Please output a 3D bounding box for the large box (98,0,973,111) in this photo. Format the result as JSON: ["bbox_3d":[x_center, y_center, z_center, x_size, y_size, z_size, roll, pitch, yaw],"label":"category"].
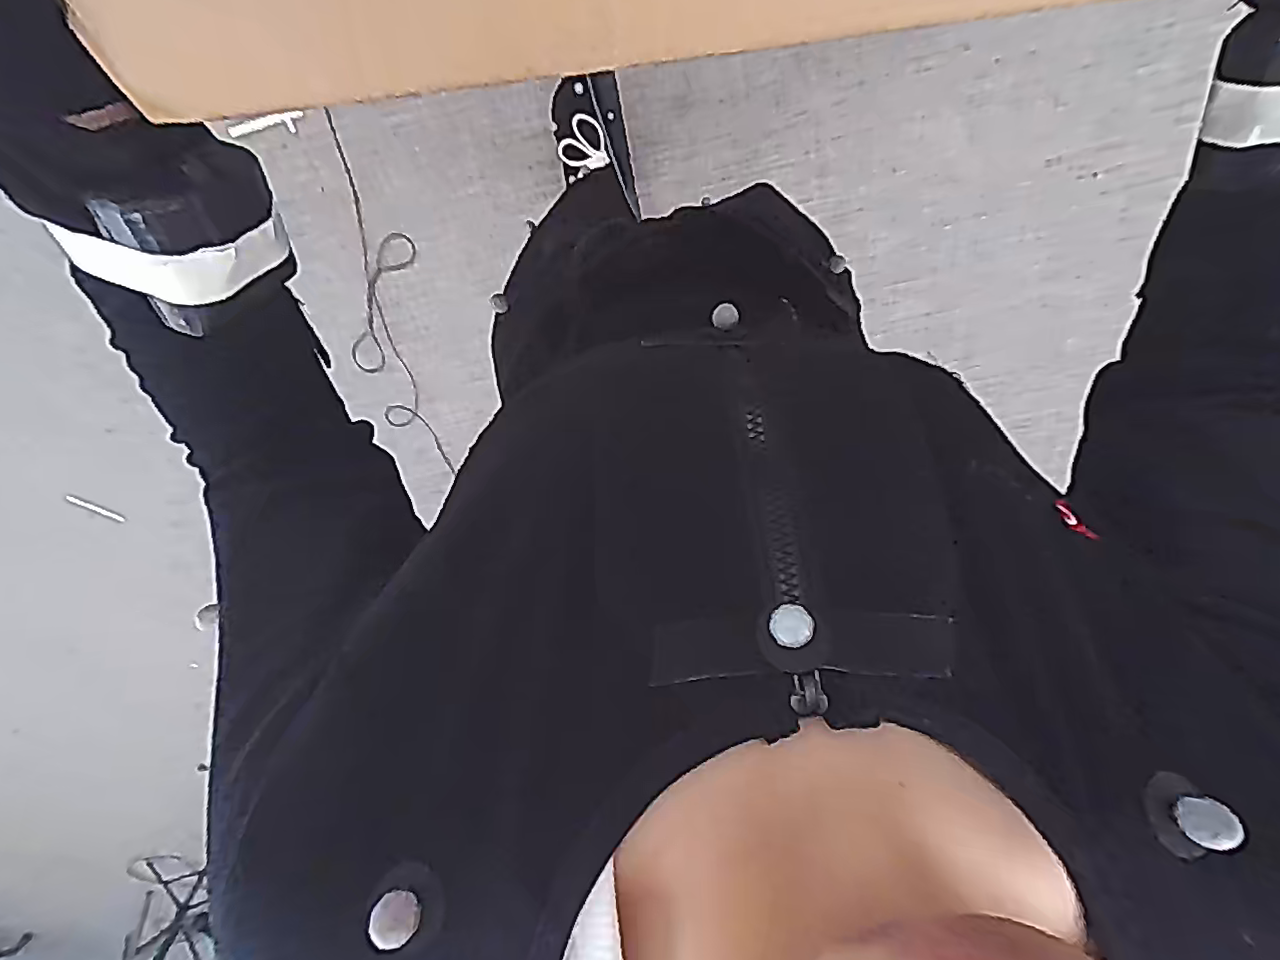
[{"bbox_3d":[0.001,-0.366,0.144,0.408,0.320,0.320,-7,147,1],"label":"large box"}]
